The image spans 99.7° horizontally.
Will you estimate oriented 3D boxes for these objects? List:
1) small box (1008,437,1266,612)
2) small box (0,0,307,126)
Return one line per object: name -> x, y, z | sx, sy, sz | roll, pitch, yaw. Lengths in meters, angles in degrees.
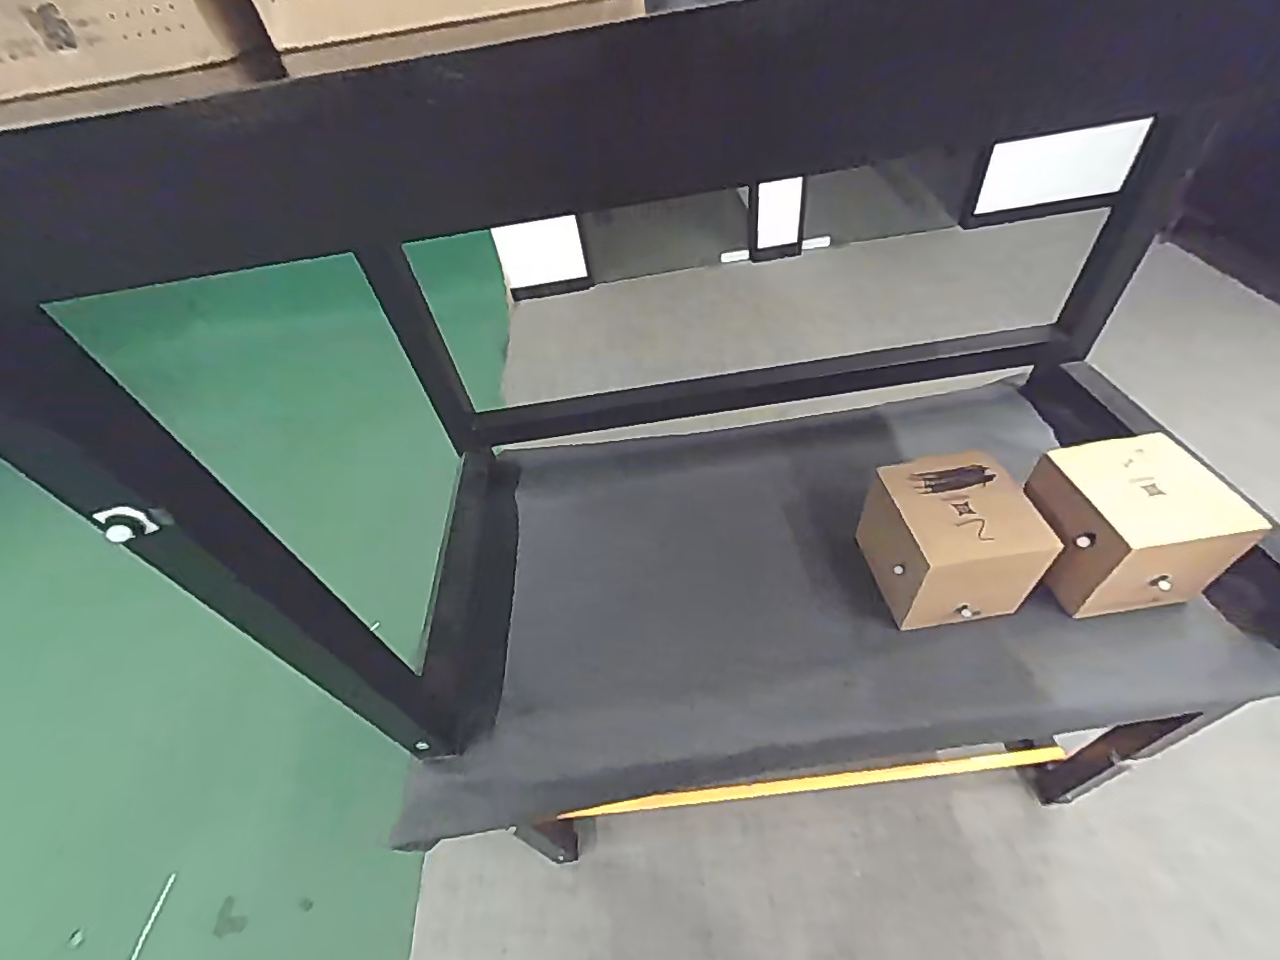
small box -> 0.666, 0.069, 0.757 | 0.168, 0.176, 0.179 | -9, 45, 1
small box -> -0.277, -0.281, 0.246 | 0.168, 0.176, 0.179 | -9, 47, 1
